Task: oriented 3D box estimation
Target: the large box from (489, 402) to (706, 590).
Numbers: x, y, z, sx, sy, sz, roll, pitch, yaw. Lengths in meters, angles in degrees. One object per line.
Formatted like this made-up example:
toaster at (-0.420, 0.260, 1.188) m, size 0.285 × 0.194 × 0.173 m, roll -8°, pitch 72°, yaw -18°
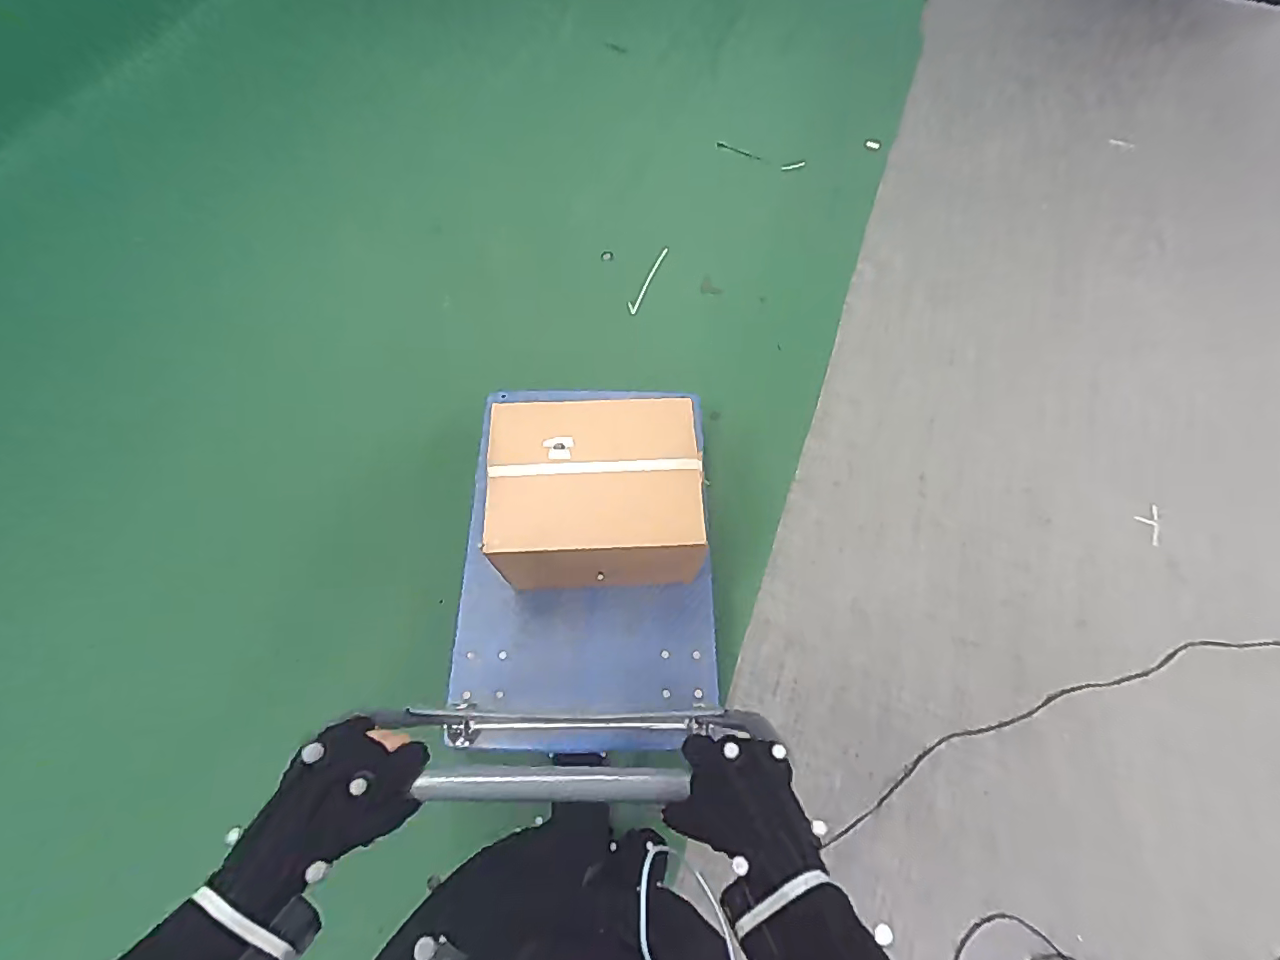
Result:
large box at (-0.086, 0.048, 1.180) m, size 0.408 × 0.320 × 0.320 m, roll -3°, pitch 66°, yaw -2°
